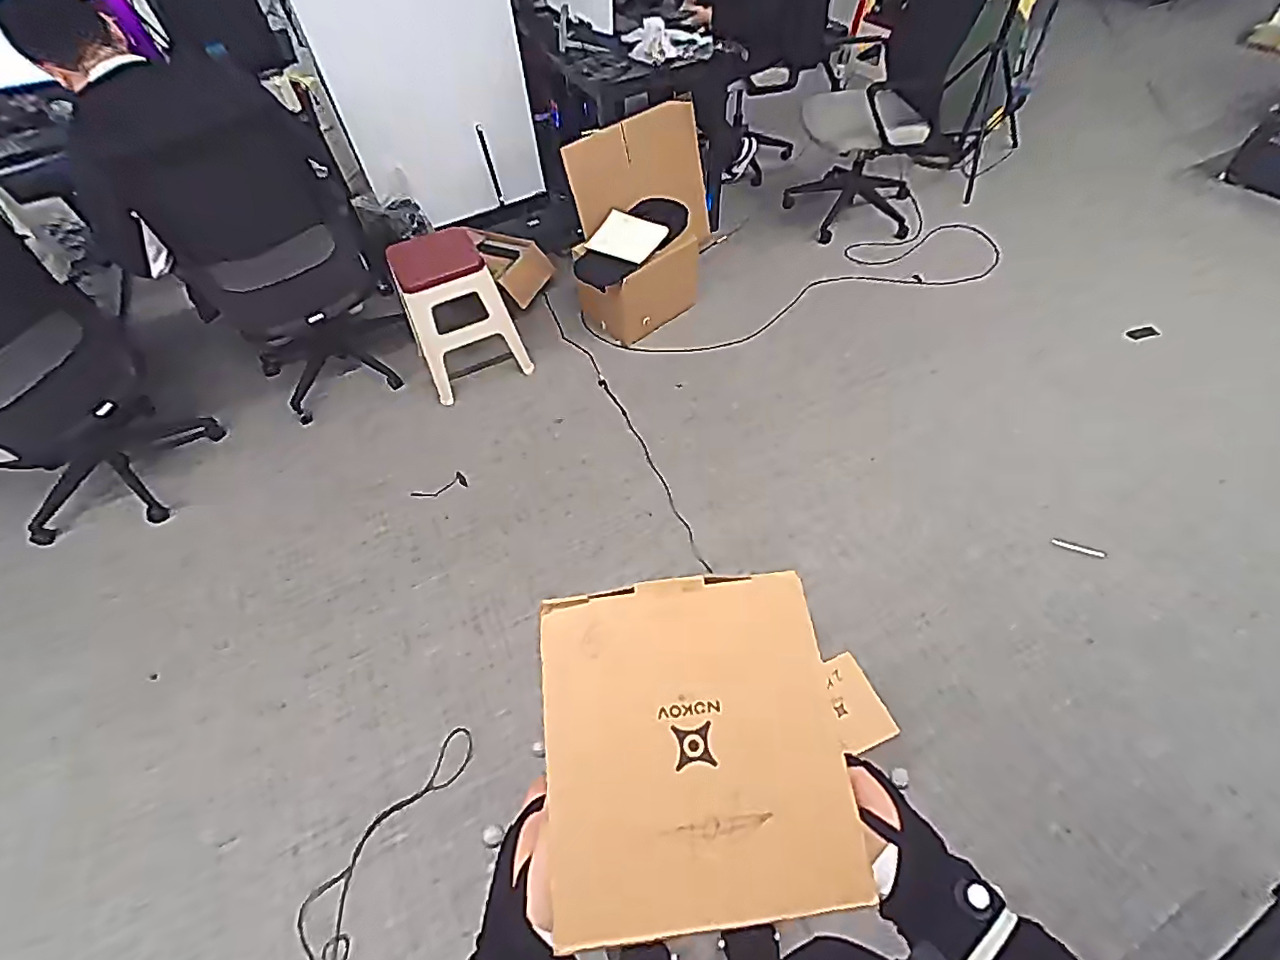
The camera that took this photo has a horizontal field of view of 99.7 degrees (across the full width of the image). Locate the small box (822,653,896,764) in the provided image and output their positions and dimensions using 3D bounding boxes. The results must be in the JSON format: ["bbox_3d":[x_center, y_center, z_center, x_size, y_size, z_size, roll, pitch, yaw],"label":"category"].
[{"bbox_3d":[0.394,0.500,1.138,0.168,0.176,0.179,-19,54,-12],"label":"small box"}]

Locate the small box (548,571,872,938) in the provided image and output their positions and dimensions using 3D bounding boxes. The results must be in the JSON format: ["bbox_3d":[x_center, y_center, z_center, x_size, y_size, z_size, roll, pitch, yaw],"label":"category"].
[{"bbox_3d":[0.030,0.176,0.381,0.168,0.176,0.179,-6,67,-3],"label":"small box"}]
